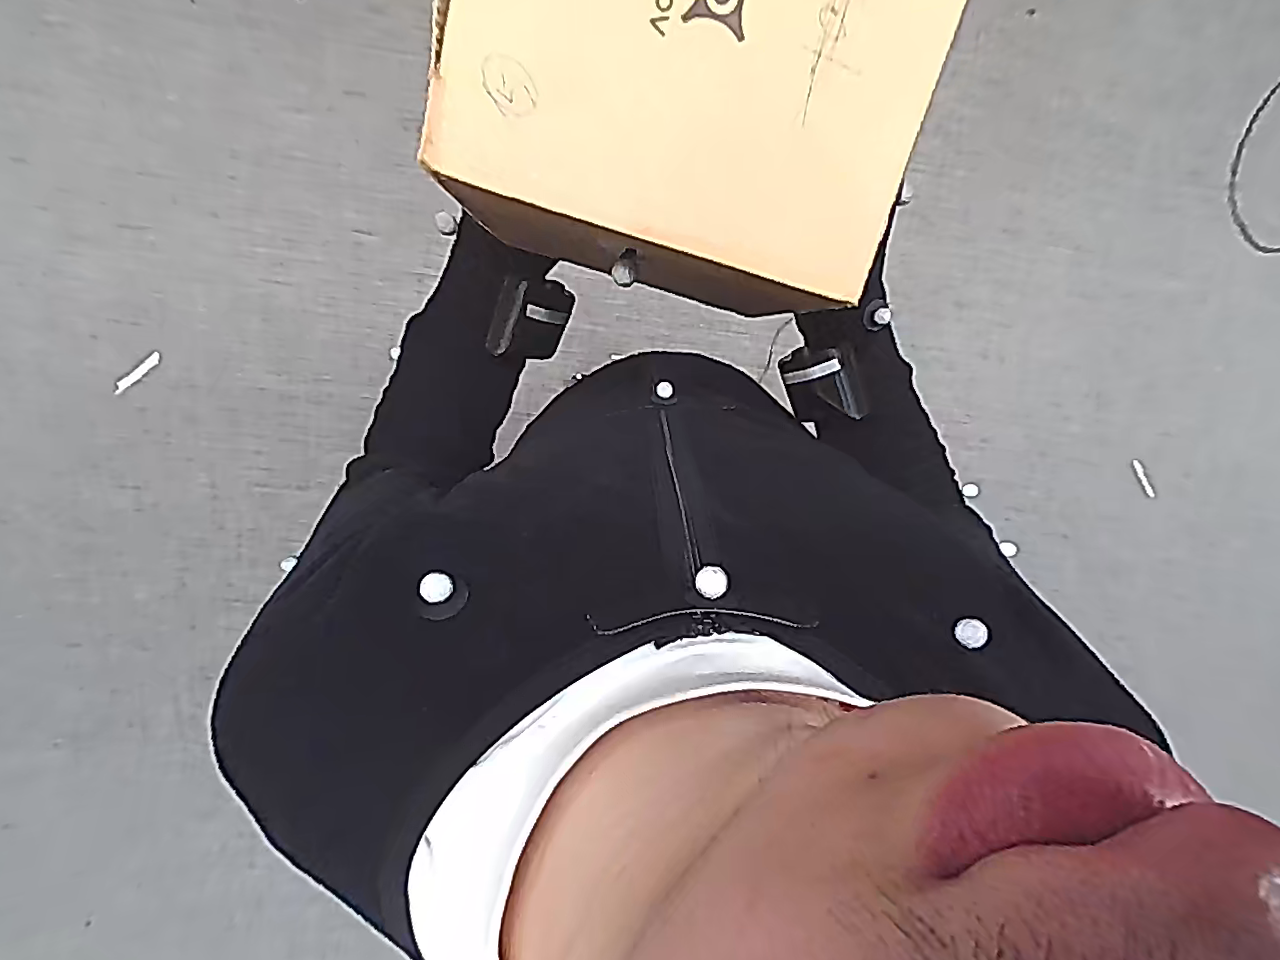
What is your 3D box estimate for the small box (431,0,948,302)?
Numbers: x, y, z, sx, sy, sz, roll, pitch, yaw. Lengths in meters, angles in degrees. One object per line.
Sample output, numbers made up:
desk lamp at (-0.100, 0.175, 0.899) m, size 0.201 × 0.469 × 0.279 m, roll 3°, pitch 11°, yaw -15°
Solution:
small box at (0.021, -0.195, 0.274) m, size 0.179 × 0.176 × 0.168 m, roll 14°, pitch 105°, yaw -7°
